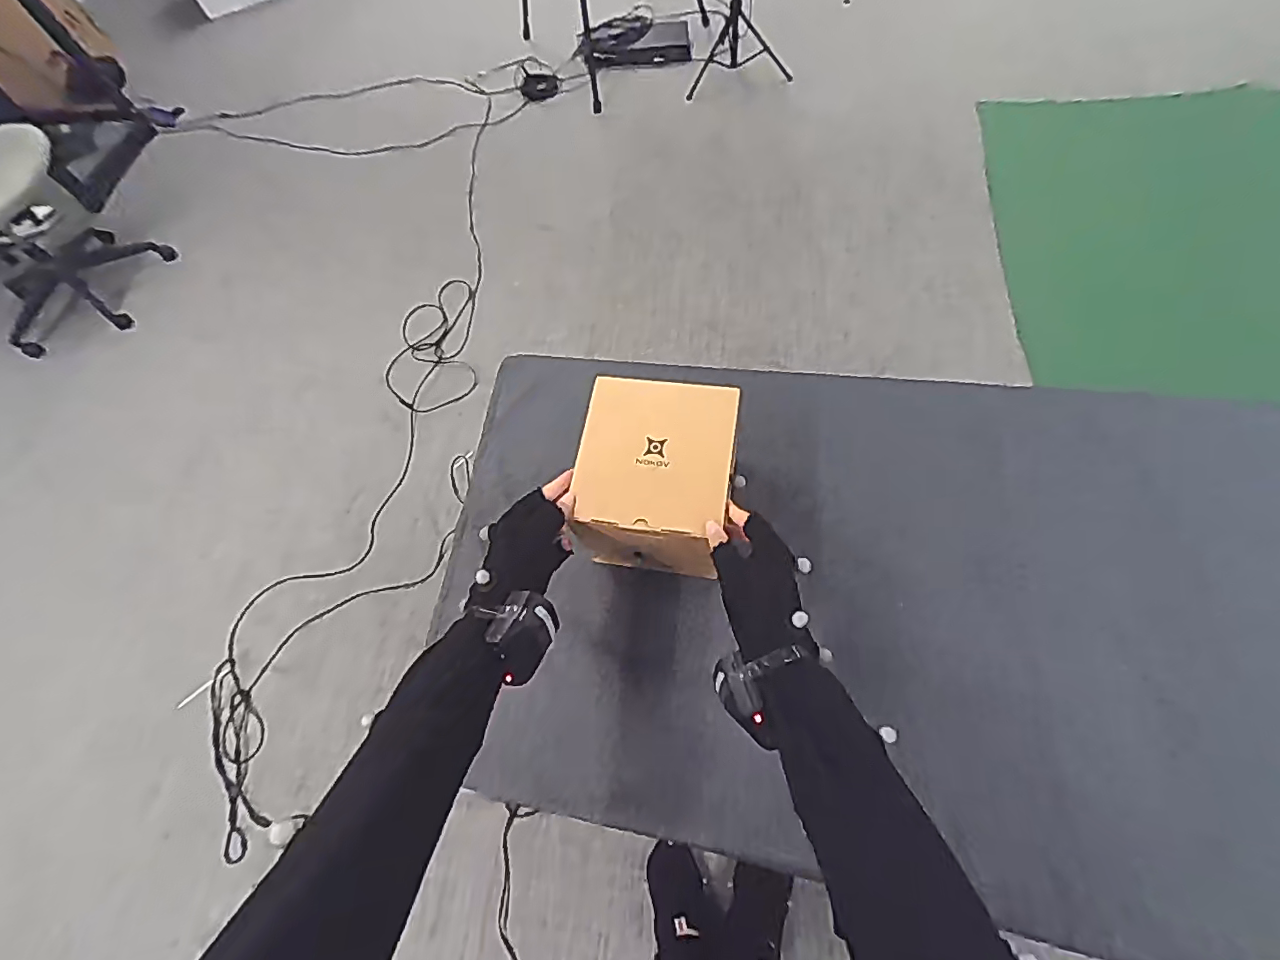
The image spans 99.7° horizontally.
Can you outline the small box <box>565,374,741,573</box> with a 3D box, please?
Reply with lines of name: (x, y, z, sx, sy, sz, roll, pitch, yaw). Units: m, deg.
small box: (0.024, -0.001, 0.648, 0.168, 0.176, 0.179, 7, 68, 10)
